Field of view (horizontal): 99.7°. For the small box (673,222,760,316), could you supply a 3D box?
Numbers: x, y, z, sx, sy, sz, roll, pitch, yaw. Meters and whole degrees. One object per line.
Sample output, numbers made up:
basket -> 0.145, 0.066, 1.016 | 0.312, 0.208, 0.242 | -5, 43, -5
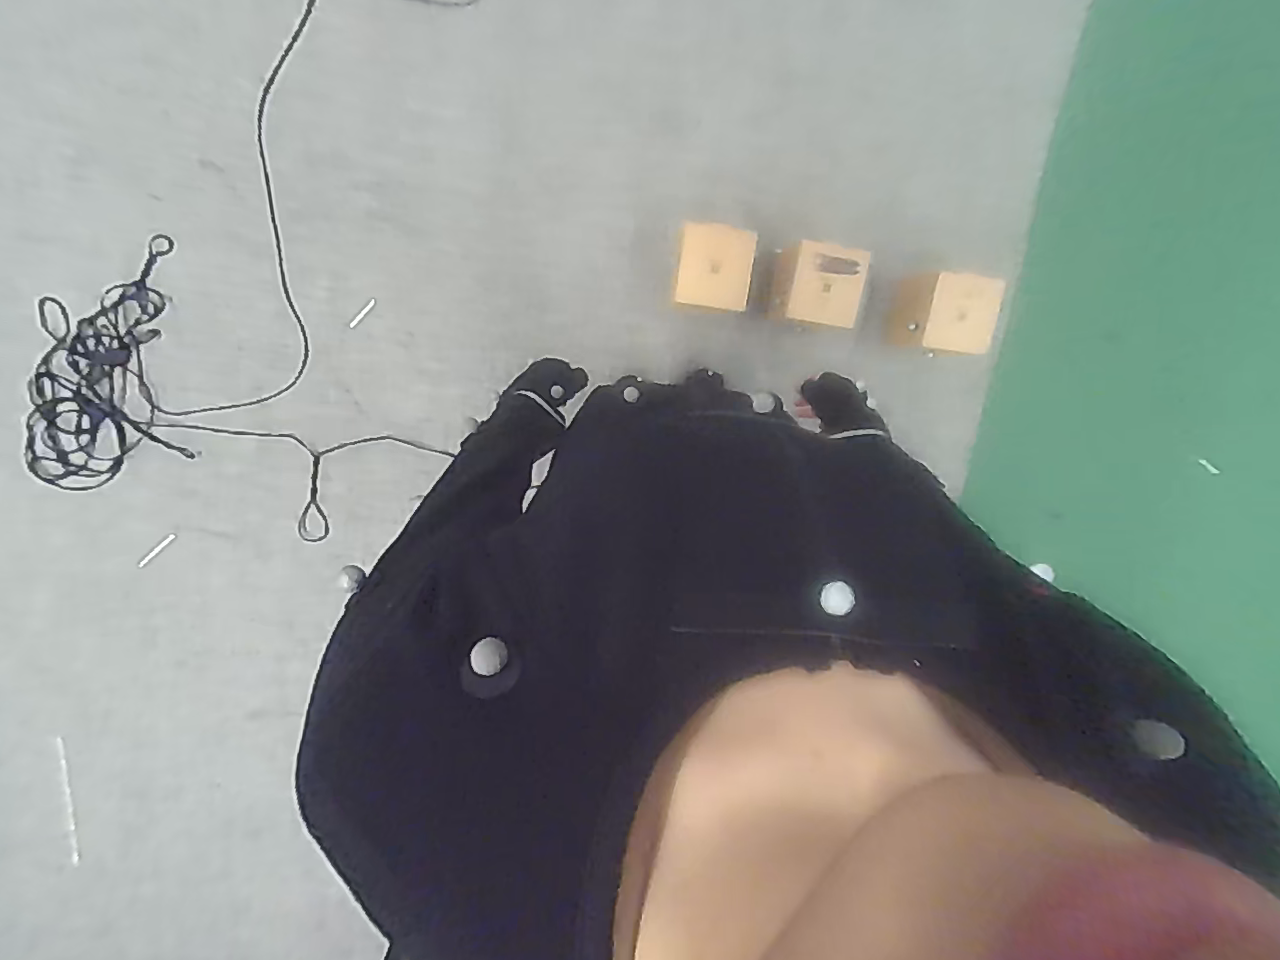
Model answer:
small box -> 0.174, -0.494, 1.292 | 0.168, 0.176, 0.179 | 7, 102, -3

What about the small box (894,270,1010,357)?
small box -> 0.756, -0.402, 1.332 | 0.168, 0.176, 0.179 | 7, 102, -4
